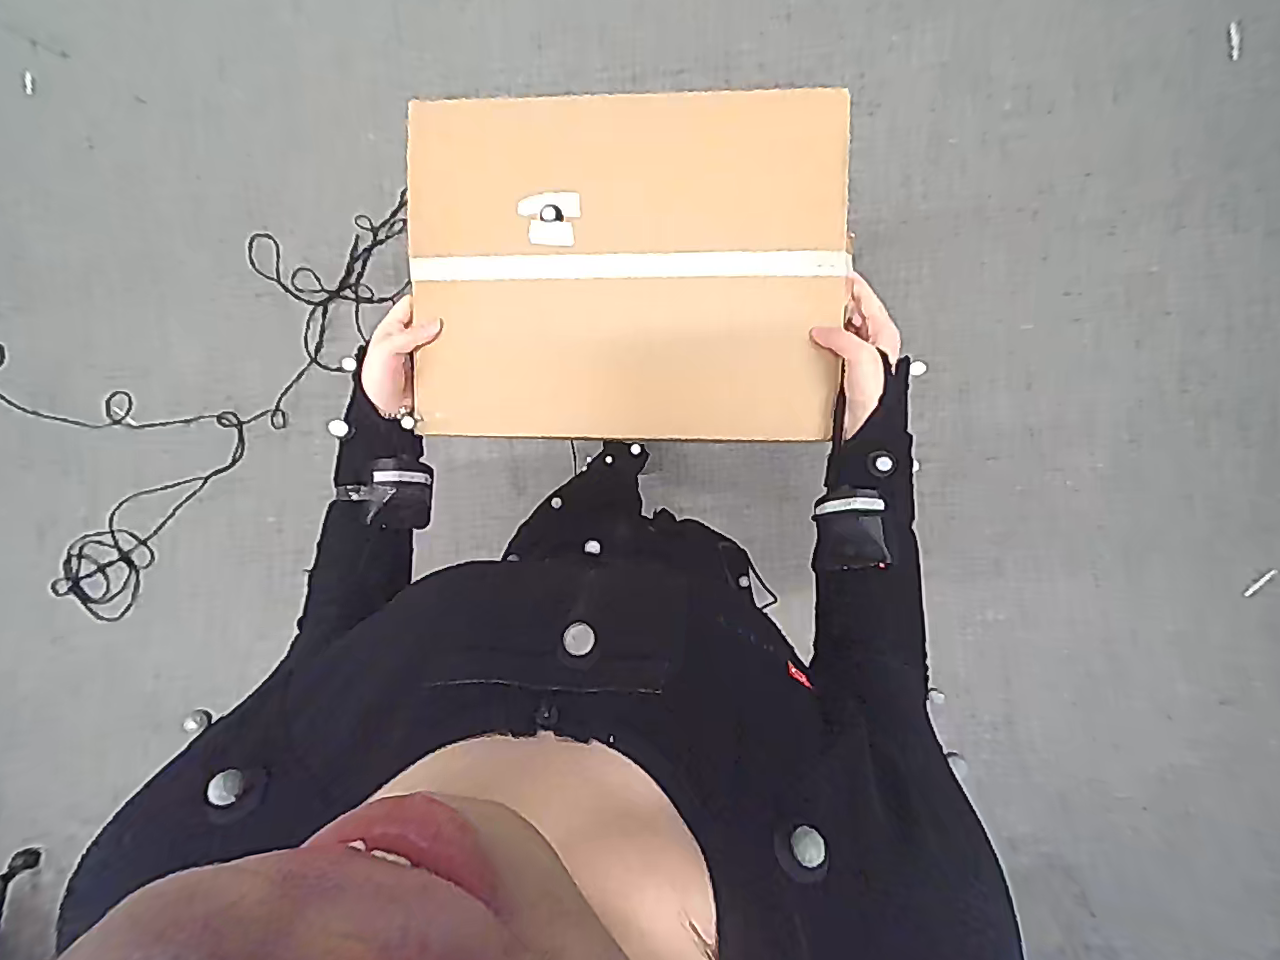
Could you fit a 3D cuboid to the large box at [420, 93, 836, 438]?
[{"bbox_3d":[-0.002,-0.210,0.666,0.408,0.320,0.320,1,94,6],"label":"large box"}]
